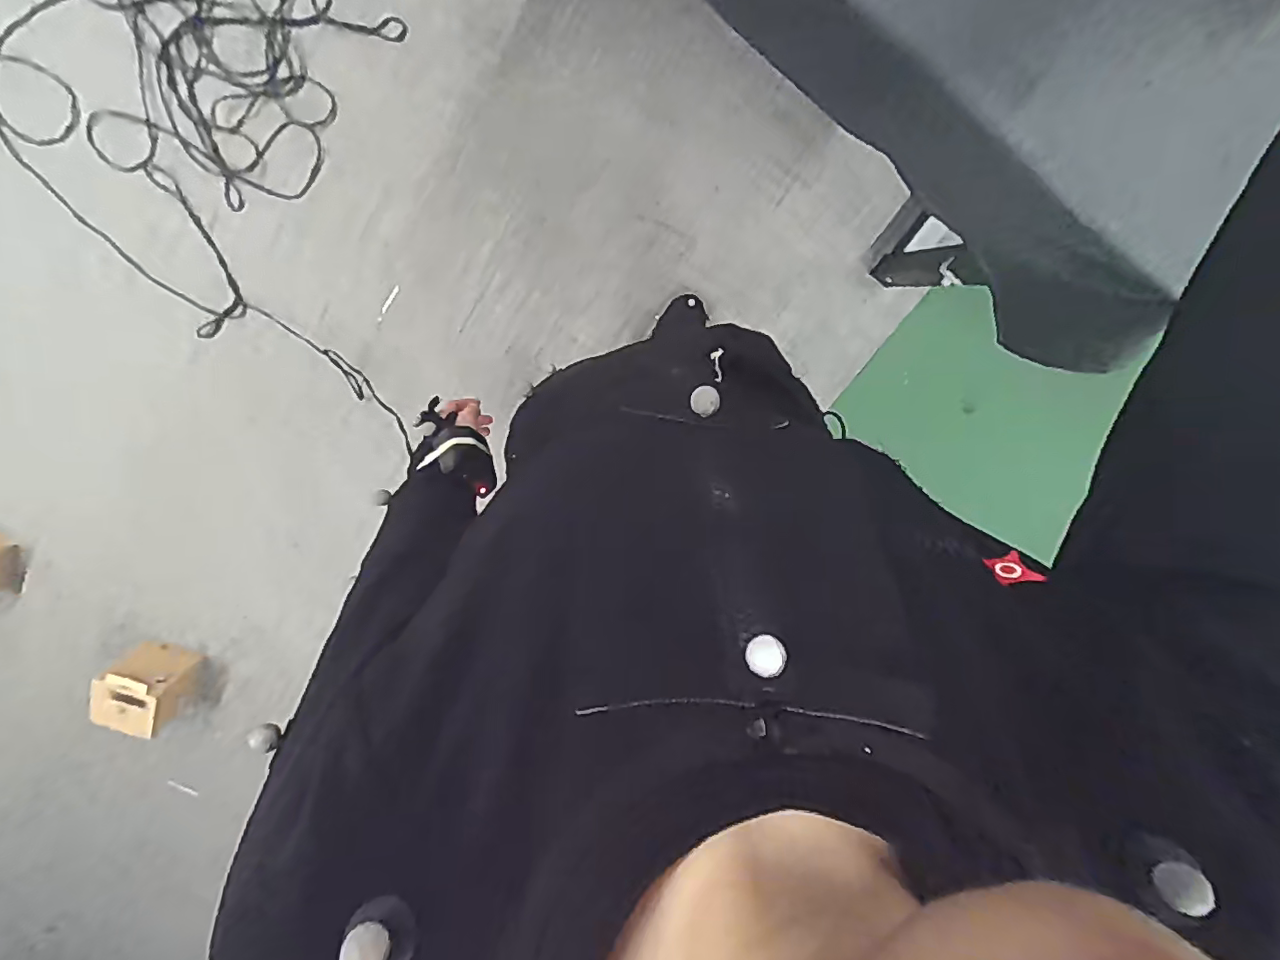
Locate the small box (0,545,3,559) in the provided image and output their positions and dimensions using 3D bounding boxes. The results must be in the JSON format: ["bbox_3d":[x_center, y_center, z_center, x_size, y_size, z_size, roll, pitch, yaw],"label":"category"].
[{"bbox_3d":[-1.816,0.220,1.383,0.168,0.176,0.179,32,106,-10],"label":"small box"}]
